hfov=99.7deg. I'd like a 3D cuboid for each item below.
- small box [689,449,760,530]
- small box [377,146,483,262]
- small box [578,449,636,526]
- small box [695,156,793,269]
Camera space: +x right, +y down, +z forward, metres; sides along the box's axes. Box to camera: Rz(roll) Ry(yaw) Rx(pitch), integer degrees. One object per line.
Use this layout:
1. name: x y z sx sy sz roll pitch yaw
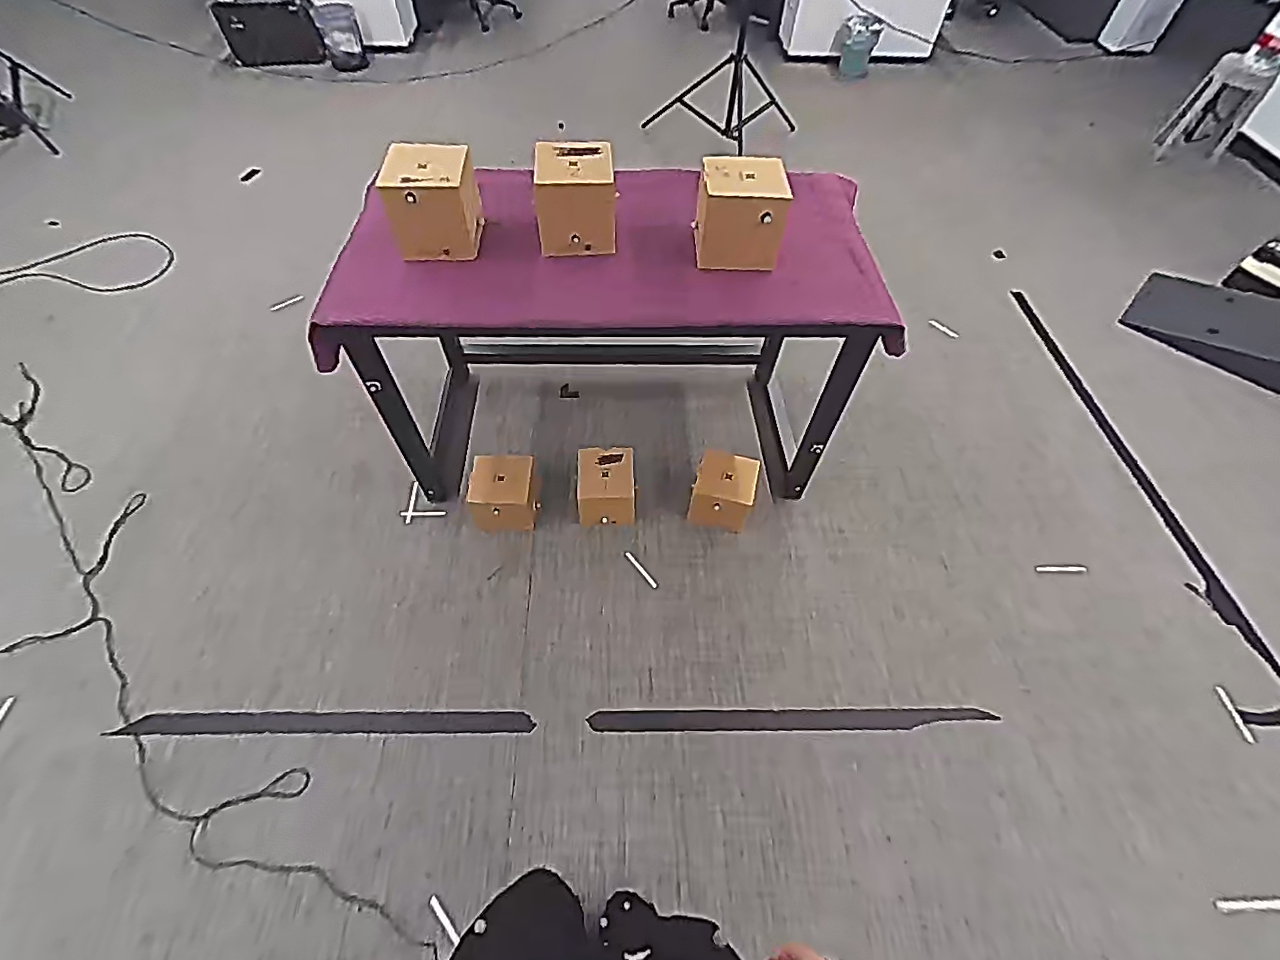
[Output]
1. small box: 0.256 0.034 1.655 0.179 0.176 0.168 13 57 8
2. small box: -0.448 -0.605 1.187 0.168 0.176 0.179 -2 55 -4
3. small box: -0.100 0.024 1.650 0.168 0.176 0.179 -2 57 -2
4. small box: 0.220 -0.586 1.192 0.179 0.176 0.168 1 55 -1
